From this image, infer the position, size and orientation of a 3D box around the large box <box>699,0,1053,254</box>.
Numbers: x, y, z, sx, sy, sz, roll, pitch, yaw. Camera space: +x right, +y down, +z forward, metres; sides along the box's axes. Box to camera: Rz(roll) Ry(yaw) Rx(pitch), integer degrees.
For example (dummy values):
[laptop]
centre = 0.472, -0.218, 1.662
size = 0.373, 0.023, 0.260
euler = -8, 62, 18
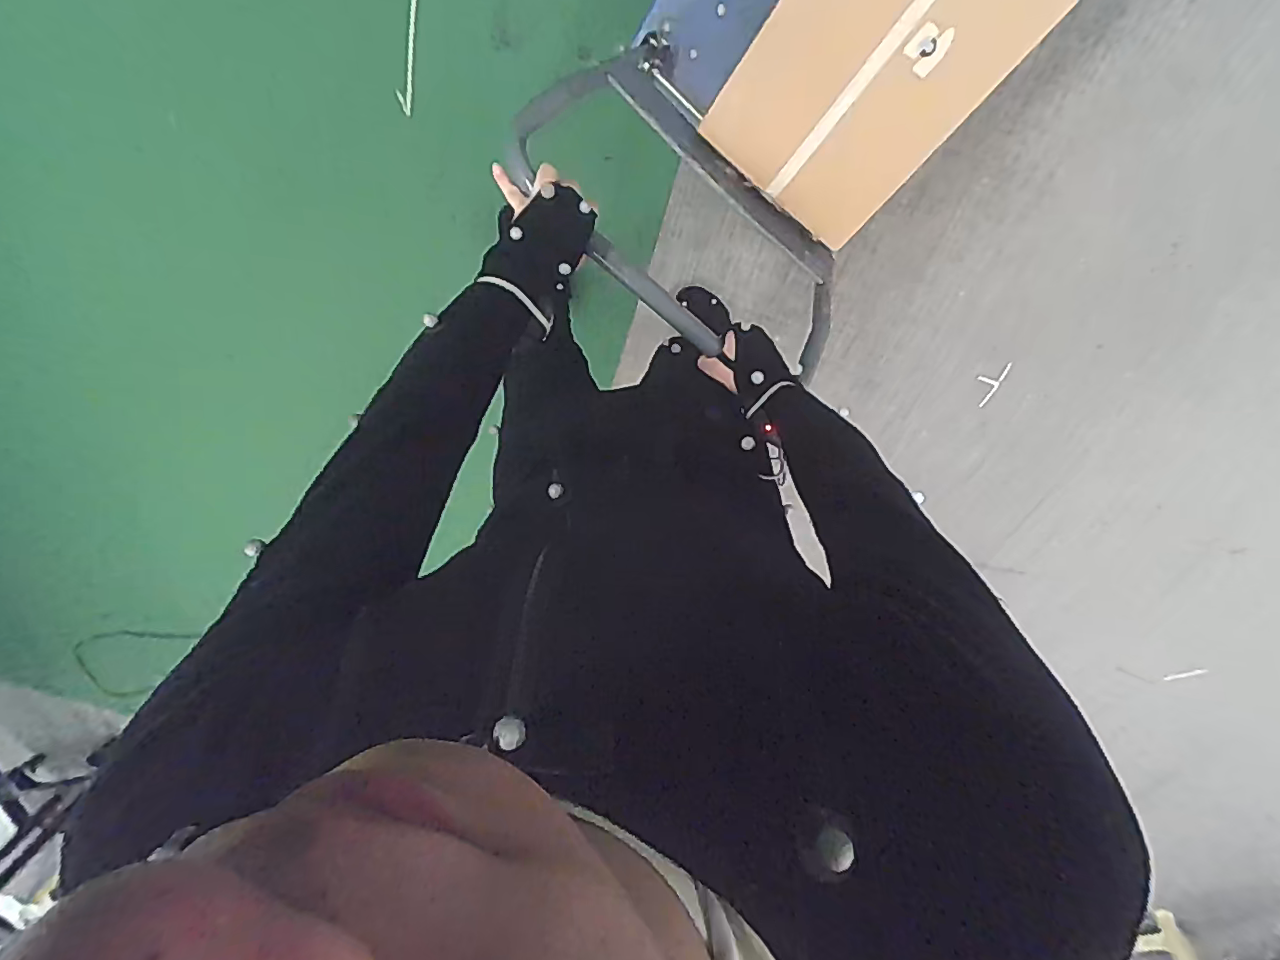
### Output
[large box]
centre = 0.357, -0.682, 0.919
size = 0.320, 0.320, 0.408
euler = 35, 129, -13
